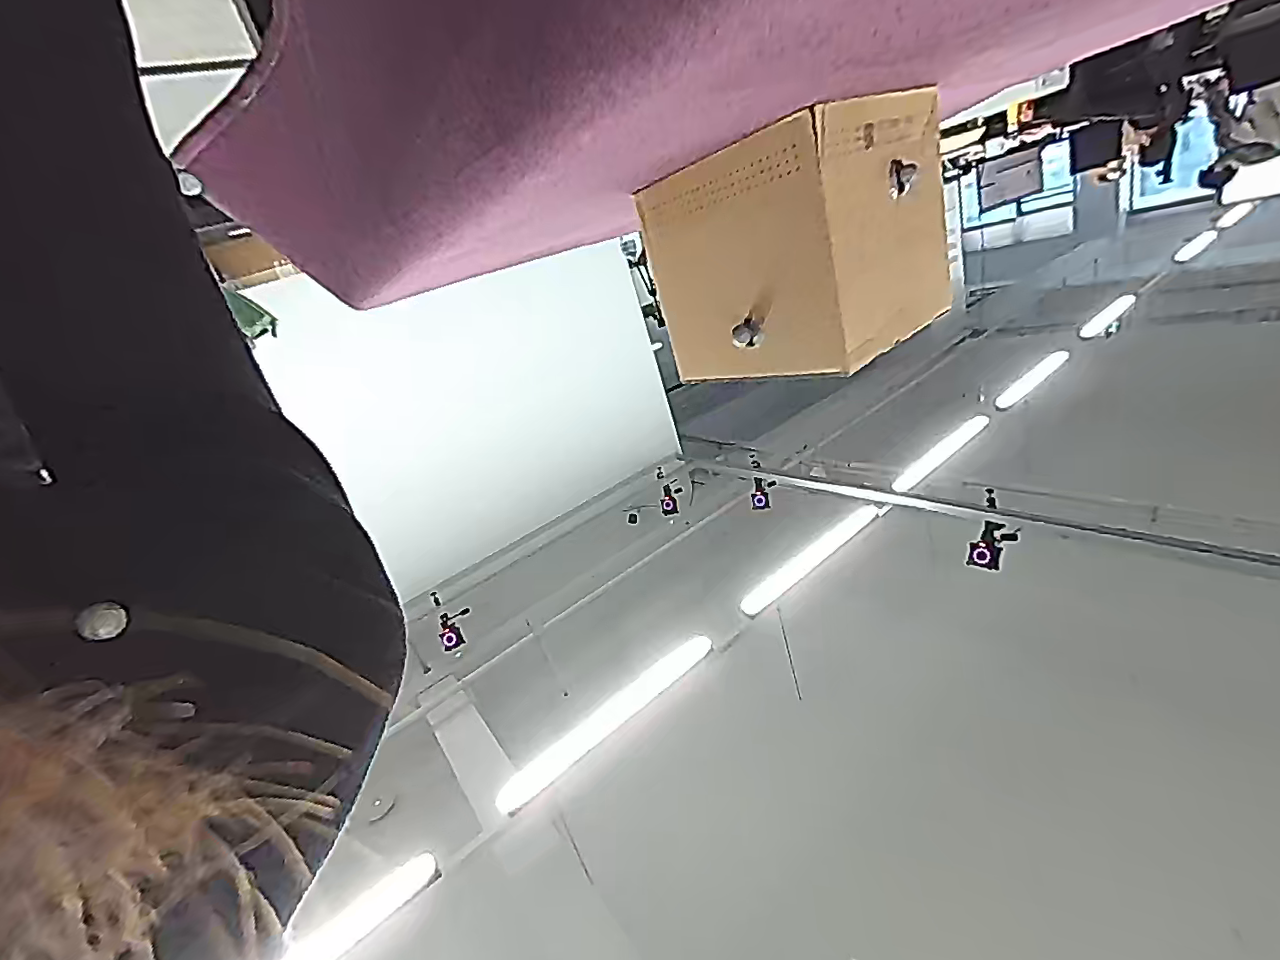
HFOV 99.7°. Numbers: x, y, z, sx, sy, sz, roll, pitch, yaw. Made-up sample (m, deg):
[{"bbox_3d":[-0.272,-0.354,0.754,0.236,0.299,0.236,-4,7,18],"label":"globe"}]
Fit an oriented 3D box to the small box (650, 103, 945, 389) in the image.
[{"bbox_3d":[0.127,-0.185,0.453,0.168,0.176,0.179,-31,-156,-31],"label":"small box"}]
